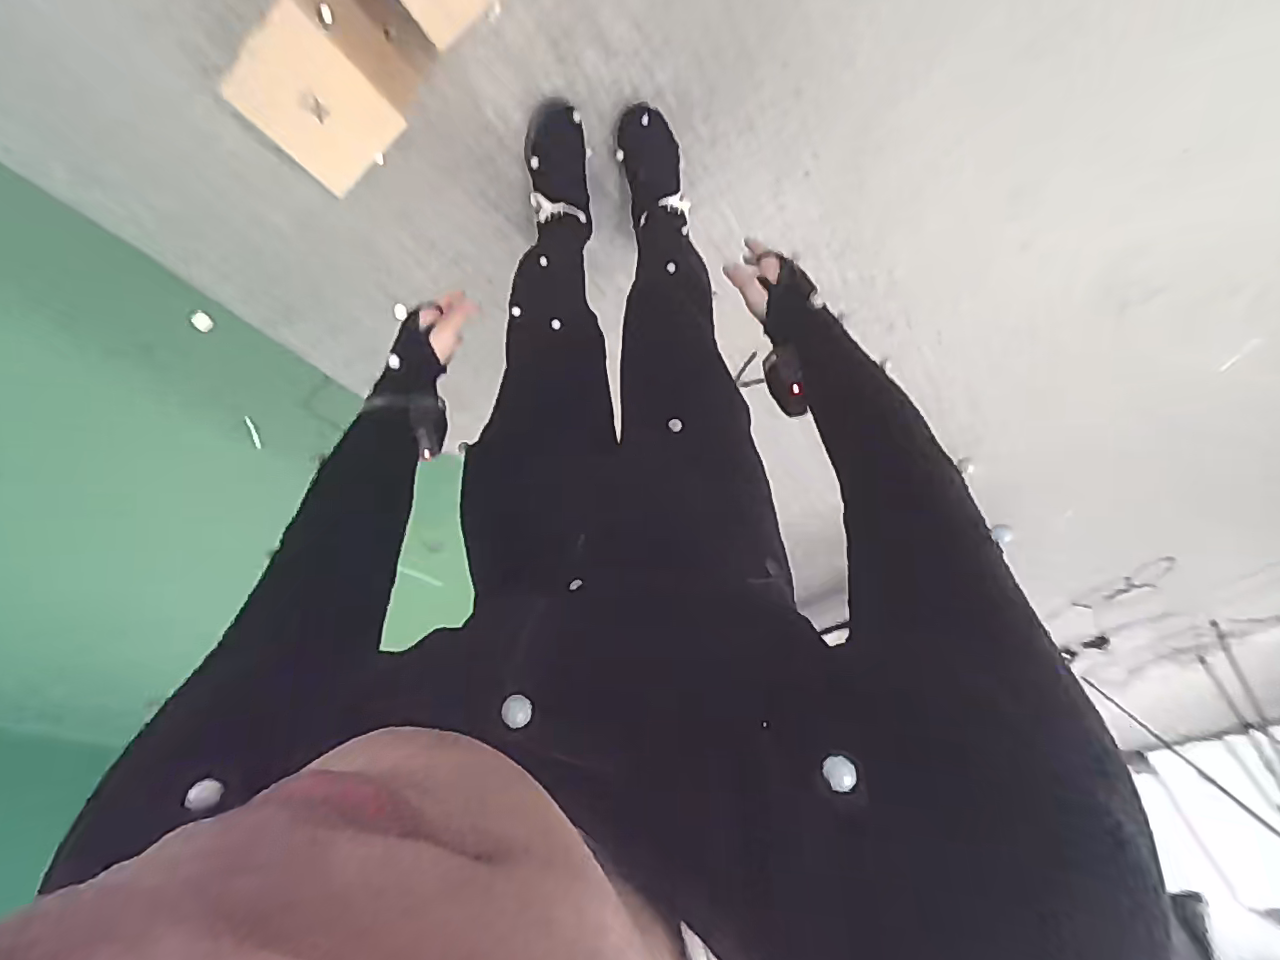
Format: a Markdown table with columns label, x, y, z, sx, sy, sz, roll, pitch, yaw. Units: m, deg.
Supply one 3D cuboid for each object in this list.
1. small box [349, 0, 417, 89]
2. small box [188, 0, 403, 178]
| label | x | y | z | sx | sy | sz | roll | pitch | yaw |
| --- | --- | --- | --- | --- | --- | --- | --- | --- | --- |
| small box | -0.482 | -0.702 | 0.857 | 0.168 | 0.176 | 0.179 | -26 | 138 | 20 |
| small box | -0.463 | -0.578 | 0.755 | 0.168 | 0.176 | 0.179 | -27 | 137 | 22 |
